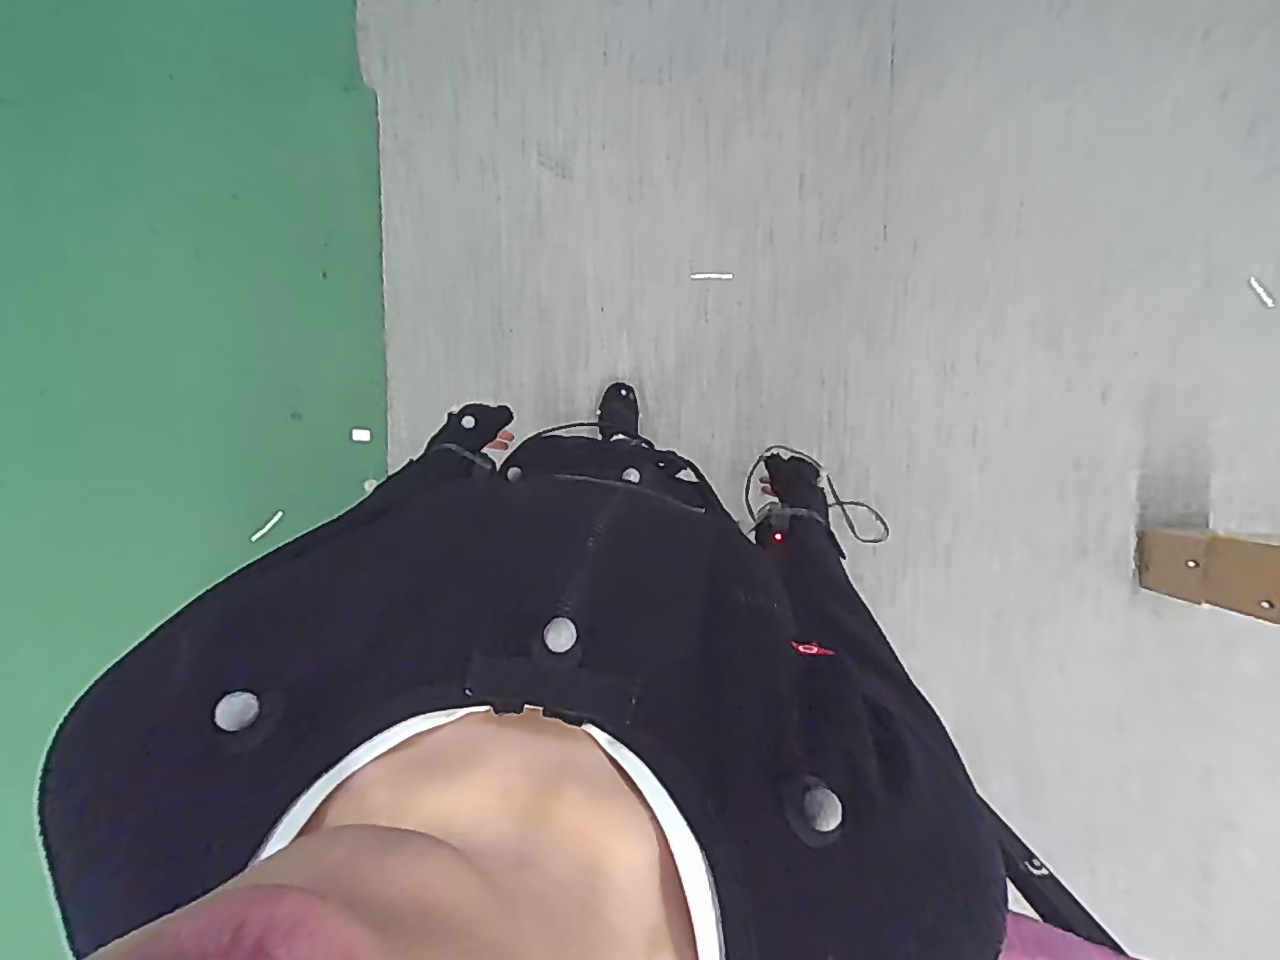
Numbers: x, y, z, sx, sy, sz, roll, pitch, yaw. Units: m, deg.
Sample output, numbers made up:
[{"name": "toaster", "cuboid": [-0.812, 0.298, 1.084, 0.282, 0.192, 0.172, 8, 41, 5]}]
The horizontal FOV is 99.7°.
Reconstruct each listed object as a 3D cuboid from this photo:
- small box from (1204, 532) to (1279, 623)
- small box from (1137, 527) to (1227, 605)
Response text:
[{"name": "small box", "cuboid": [1.422, 0.212, 1.204, 0.168, 0.176, 0.179, 0, 95, 2]}, {"name": "small box", "cuboid": [1.424, 0.213, 1.367, 0.179, 0.176, 0.168, 0, 94, 1]}]
